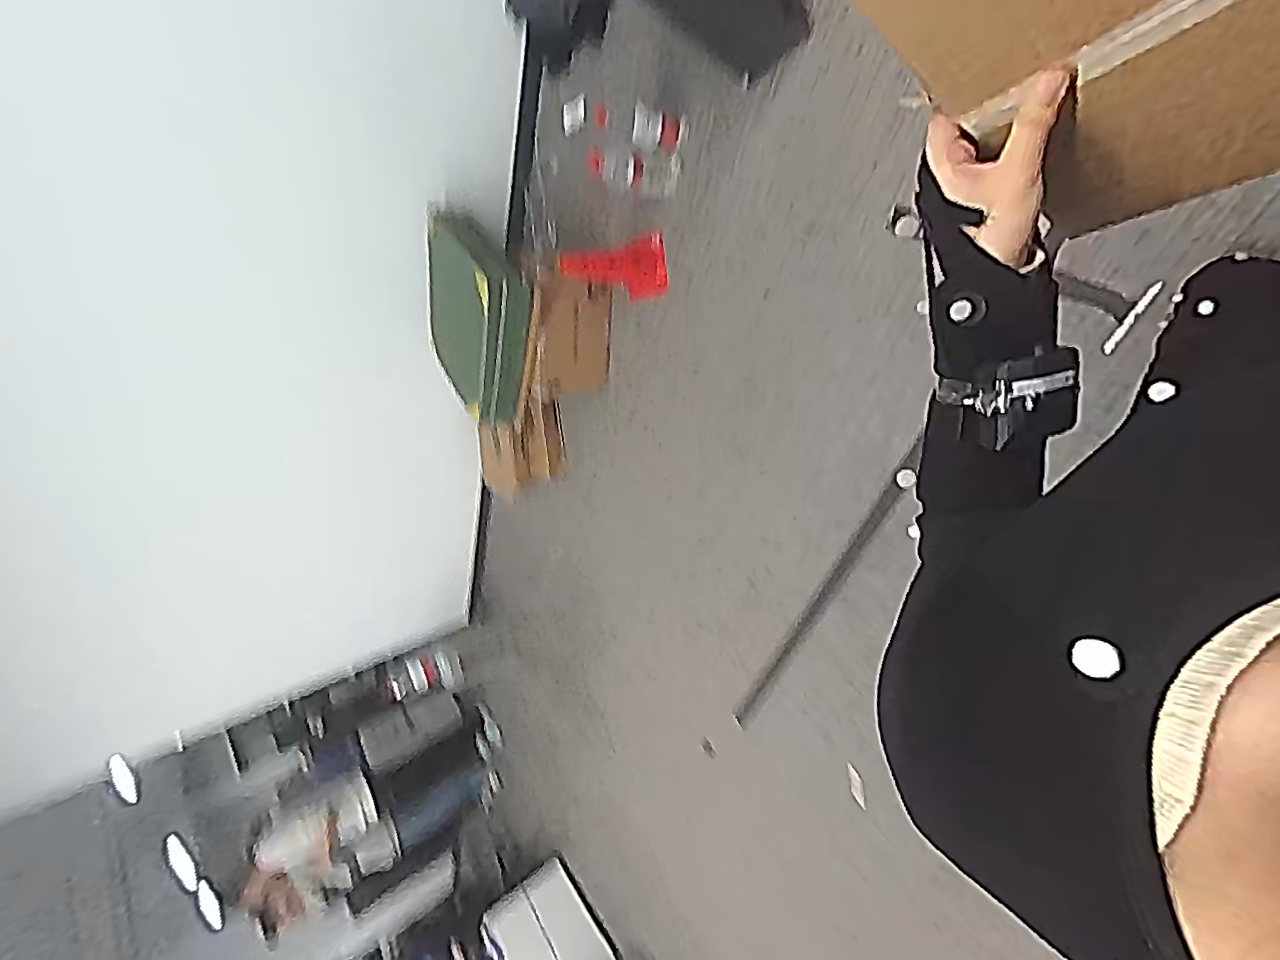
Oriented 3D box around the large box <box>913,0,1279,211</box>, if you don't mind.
[{"bbox_3d":[0.321,-0.374,0.158,0.408,0.320,0.320,-3,75,57],"label":"large box"}]
